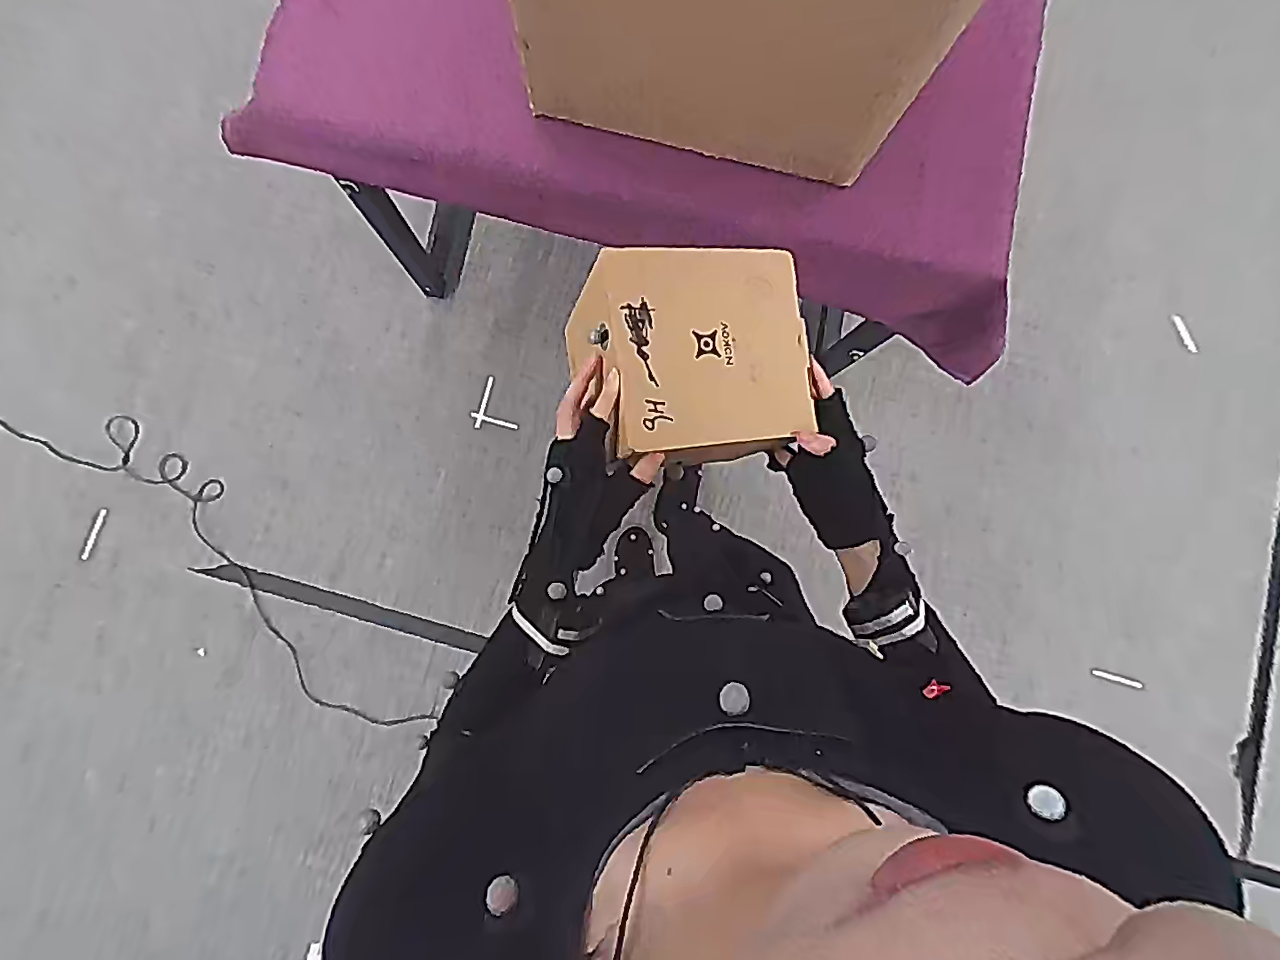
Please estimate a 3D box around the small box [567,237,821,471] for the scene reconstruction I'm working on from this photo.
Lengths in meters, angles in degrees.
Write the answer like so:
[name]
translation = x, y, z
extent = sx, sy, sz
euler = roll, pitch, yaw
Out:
[small box]
translation = 0.039, -0.106, 0.516
extent = 0.179, 0.176, 0.168
euler = -7, 84, -19
